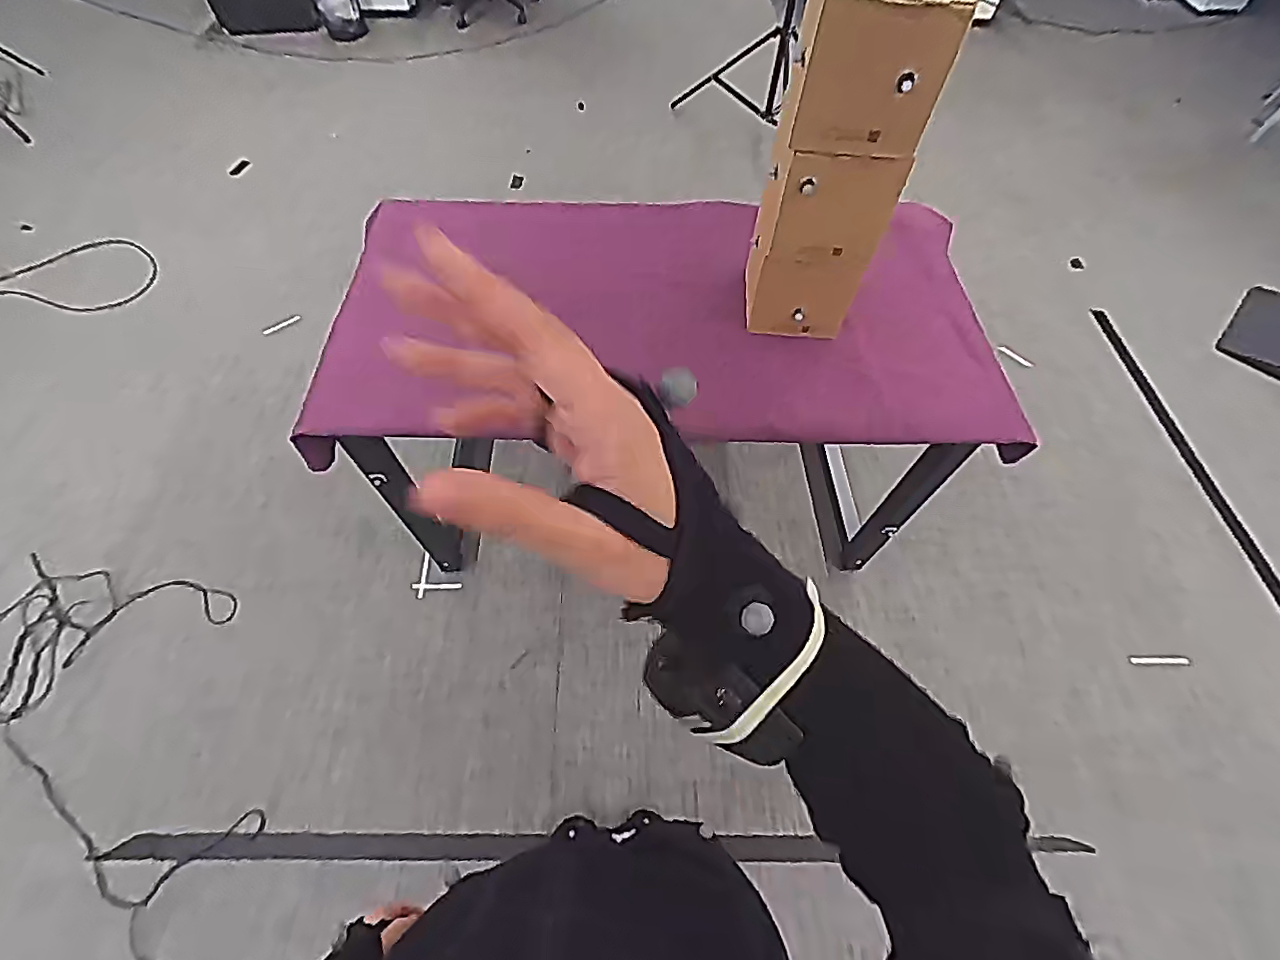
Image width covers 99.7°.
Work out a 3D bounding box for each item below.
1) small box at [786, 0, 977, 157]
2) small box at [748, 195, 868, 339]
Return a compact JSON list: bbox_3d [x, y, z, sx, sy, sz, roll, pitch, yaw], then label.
[{"bbox_3d":[0.290,-0.544,0.692,0.168,0.176,0.179,7,58,2],"label":"small box"},{"bbox_3d":[0.290,-0.381,0.976,0.168,0.176,0.179,4,59,3],"label":"small box"}]
